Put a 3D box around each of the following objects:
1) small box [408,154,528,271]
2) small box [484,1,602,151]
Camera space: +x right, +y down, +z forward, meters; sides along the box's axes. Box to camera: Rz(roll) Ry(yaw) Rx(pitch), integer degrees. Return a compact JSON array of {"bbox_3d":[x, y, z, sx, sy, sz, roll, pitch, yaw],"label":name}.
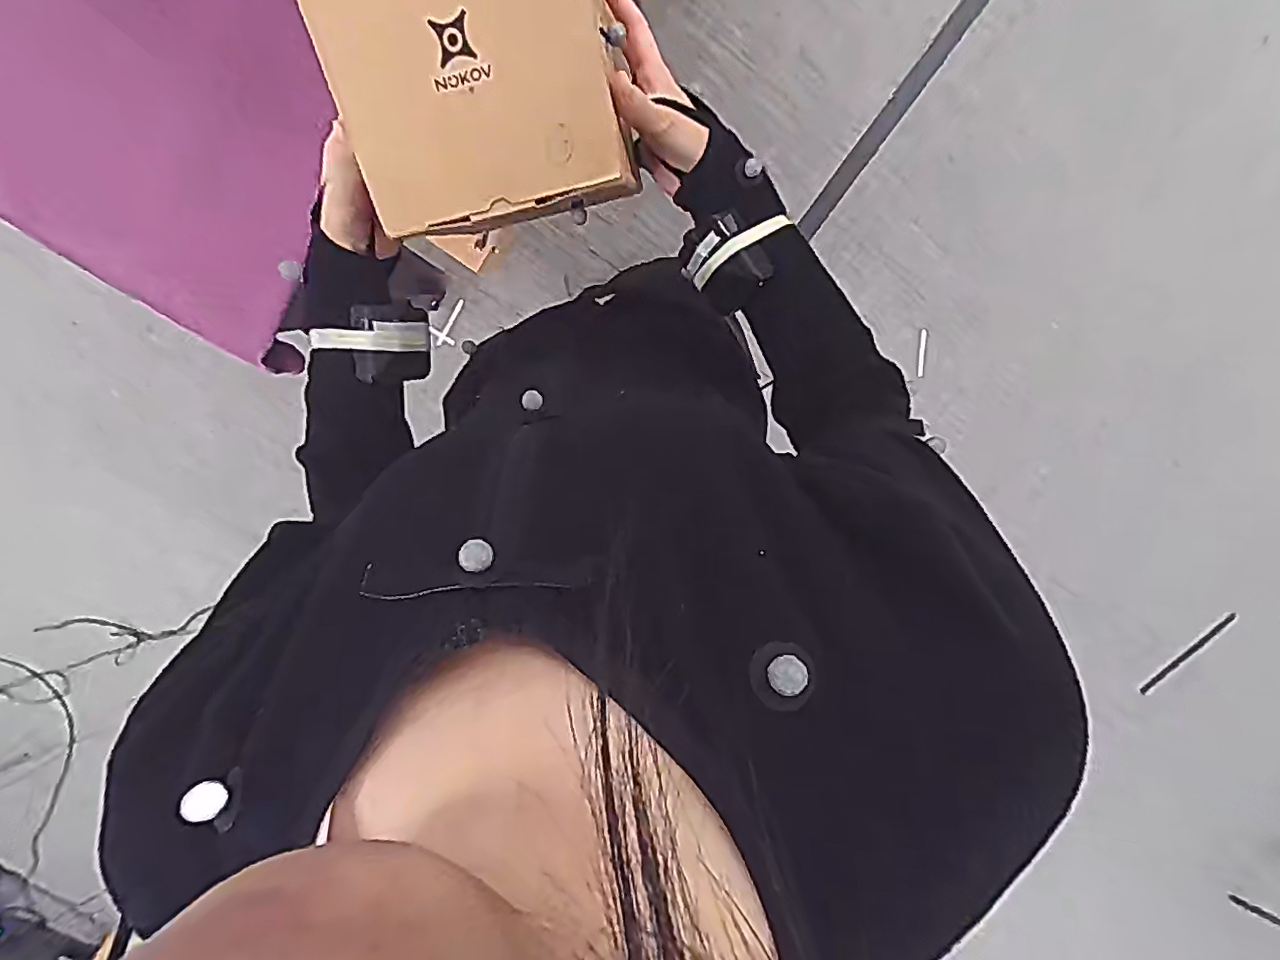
[{"bbox_3d":[-0.382,-0.592,1.229,0.179,0.176,0.168,34,106,-11],"label":"small box"},{"bbox_3d":[-0.195,-0.832,1.140,0.179,0.176,0.168,32,107,-12],"label":"small box"}]
